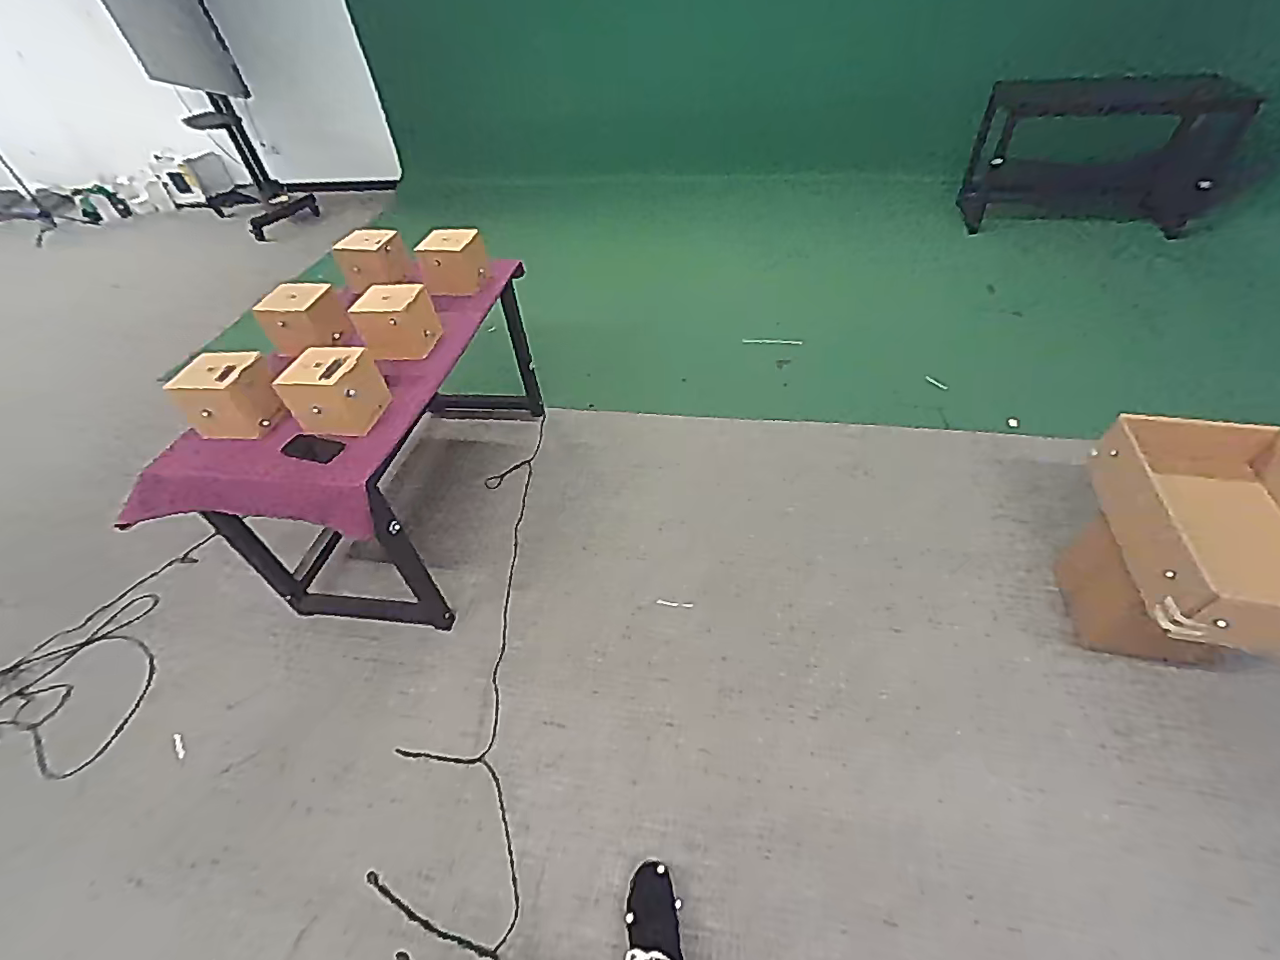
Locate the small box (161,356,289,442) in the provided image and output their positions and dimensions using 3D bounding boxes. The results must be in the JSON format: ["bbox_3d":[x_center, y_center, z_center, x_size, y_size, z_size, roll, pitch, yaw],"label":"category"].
[{"bbox_3d":[-1.088,-0.213,1.439,0.179,0.176,0.168,0,45,7],"label":"small box"}]

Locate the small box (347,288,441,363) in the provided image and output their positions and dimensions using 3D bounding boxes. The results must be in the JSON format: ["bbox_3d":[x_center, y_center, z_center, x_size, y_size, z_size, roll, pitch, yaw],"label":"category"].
[{"bbox_3d":[-0.746,-0.472,1.659,0.179,0.176,0.168,2,46,8],"label":"small box"}]

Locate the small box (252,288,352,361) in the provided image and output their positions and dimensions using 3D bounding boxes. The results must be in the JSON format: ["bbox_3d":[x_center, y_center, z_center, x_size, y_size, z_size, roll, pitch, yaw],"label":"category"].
[{"bbox_3d":[-1.059,-0.490,1.710,0.179,0.176,0.168,3,47,8],"label":"small box"}]

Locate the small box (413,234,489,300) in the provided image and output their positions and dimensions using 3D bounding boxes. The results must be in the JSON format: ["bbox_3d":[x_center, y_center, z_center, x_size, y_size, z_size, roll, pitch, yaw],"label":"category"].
[{"bbox_3d":[-0.665,-0.759,1.927,0.179,0.176,0.168,5,48,11],"label":"small box"}]

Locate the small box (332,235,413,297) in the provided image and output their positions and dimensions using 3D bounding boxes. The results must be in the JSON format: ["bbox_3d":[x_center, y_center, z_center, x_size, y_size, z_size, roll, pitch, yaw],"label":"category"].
[{"bbox_3d":[-0.976,-0.783,1.986,0.179,0.176,0.168,5,47,11],"label":"small box"}]
